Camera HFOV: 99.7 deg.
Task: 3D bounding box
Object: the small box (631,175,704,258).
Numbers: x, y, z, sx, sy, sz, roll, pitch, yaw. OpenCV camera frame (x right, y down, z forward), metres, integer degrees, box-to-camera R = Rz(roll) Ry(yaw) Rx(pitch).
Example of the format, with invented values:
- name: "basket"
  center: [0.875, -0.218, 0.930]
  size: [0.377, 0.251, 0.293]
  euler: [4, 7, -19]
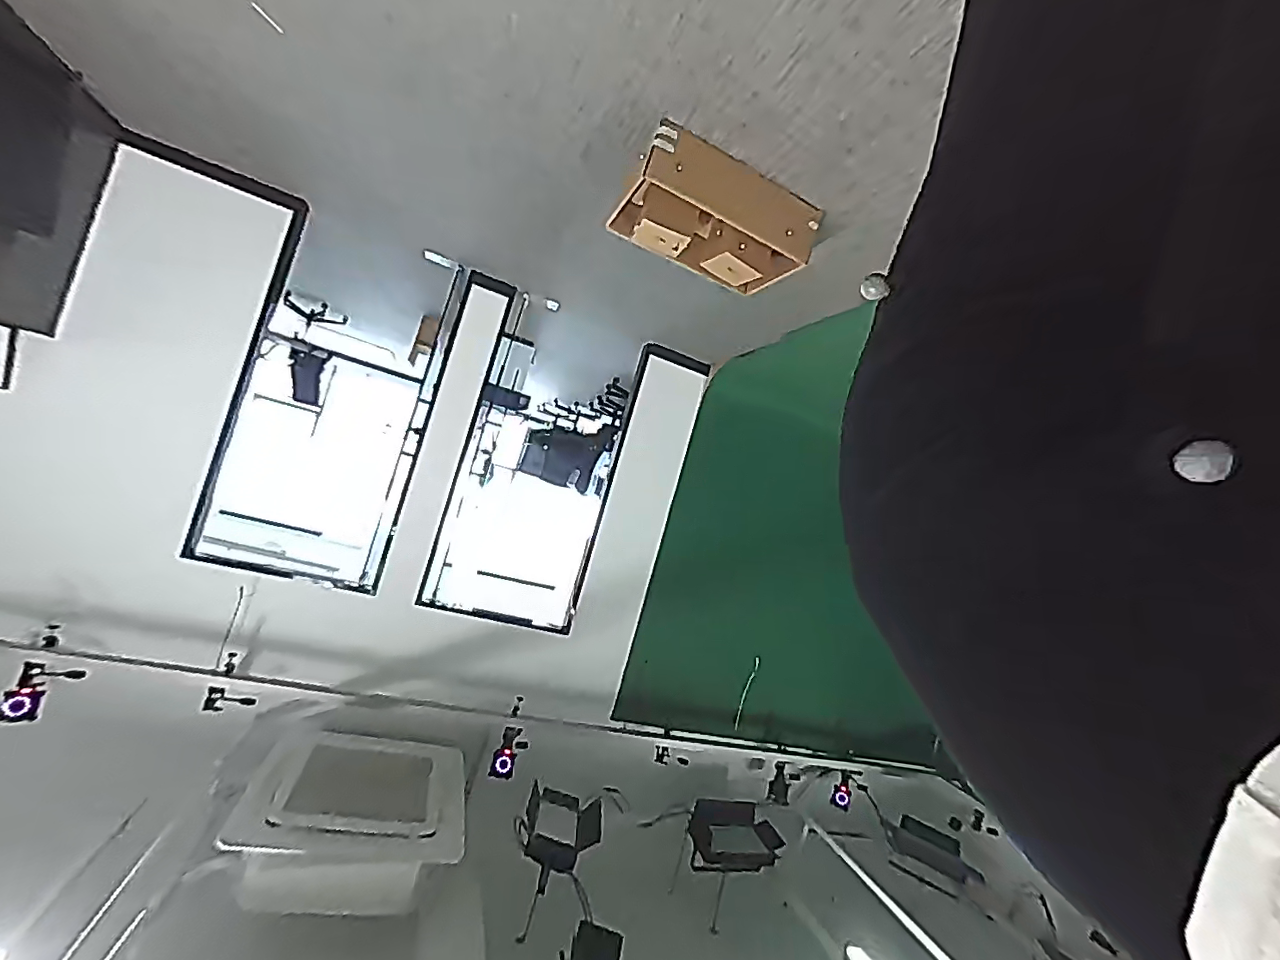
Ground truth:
- name: "small box"
  center: [0.093, -0.890, 1.824]
  size: [0.179, 0.176, 0.168]
  euler: [17, 176, -16]
